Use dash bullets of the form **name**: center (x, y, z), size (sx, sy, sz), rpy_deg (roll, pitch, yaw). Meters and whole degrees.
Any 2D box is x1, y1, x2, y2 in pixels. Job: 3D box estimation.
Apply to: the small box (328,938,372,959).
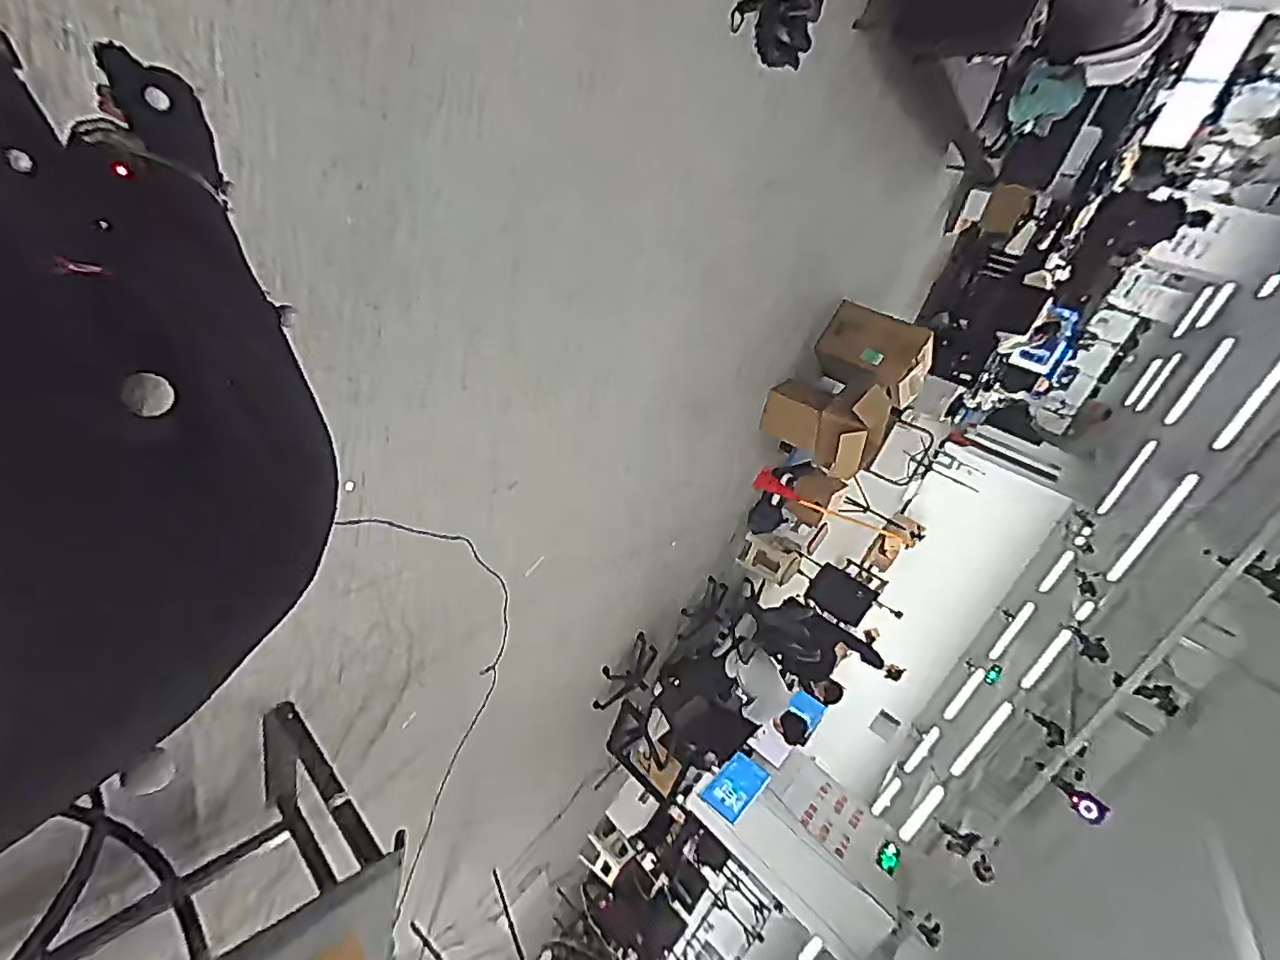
- **small box**: center (-0.811, 1.401, 1.450), size (0.179, 0.176, 0.168), rpy_deg (-9, 124, -51)
